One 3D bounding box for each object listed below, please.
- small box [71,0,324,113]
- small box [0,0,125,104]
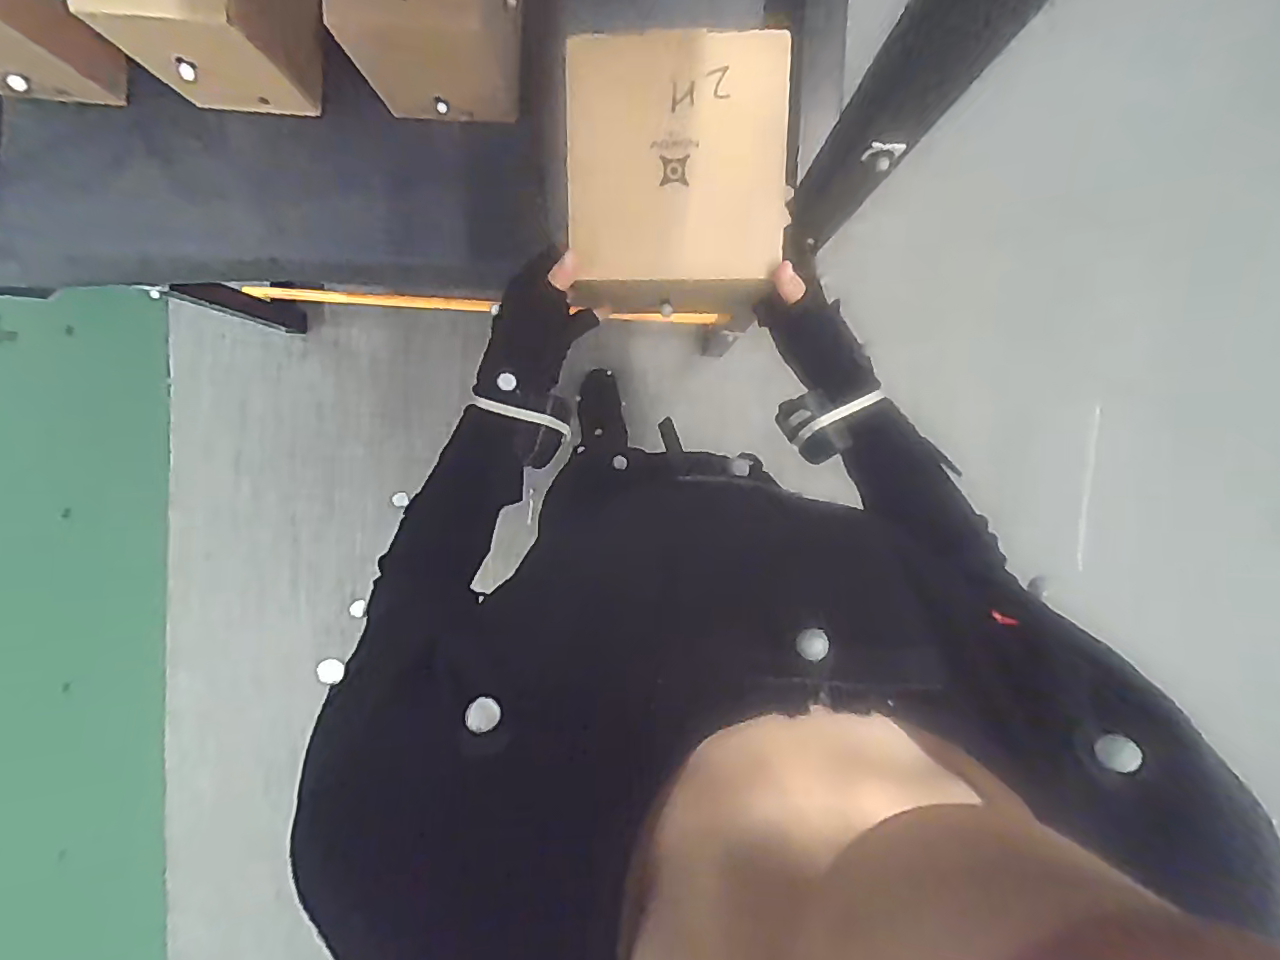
[{"bbox_3d":[-0.497,-0.567,0.630,0.168,0.176,0.179,4,94,0],"label":"small box"},{"bbox_3d":[-0.750,-0.582,0.625,0.168,0.176,0.179,4,94,0],"label":"small box"}]
